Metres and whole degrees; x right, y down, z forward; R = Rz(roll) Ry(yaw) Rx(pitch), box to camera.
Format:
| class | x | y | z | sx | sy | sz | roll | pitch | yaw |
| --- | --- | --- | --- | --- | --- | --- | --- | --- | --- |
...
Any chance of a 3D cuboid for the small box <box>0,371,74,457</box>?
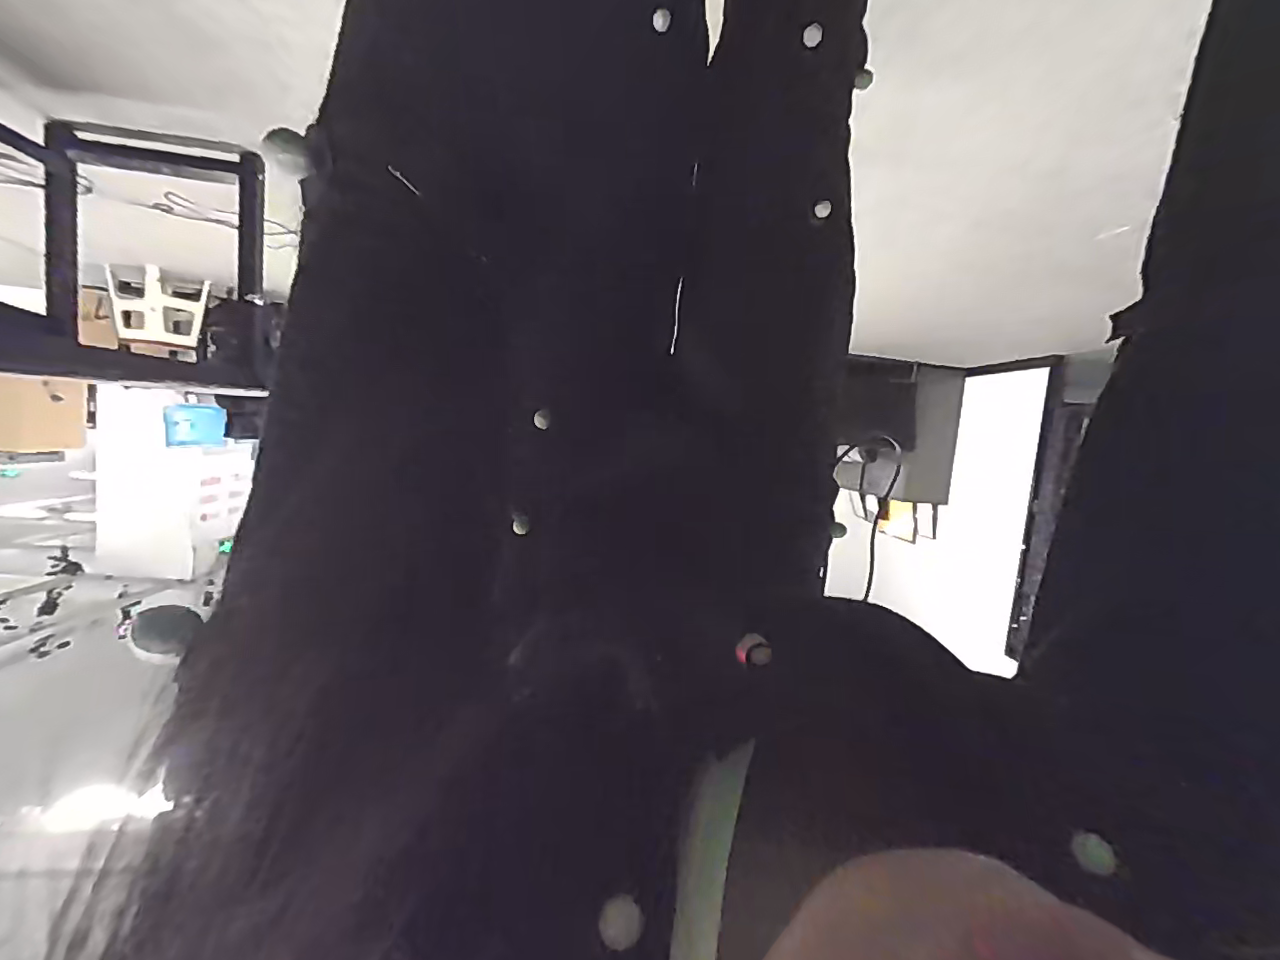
| class | x | y | z | sx | sy | sz | roll | pitch | yaw |
| --- | --- | --- | --- | --- | --- | --- | --- | --- | --- |
| small box | -1.349 | -0.144 | 1.133 | 0.179 | 0.176 | 0.168 | 5 | -175 | -9 |
